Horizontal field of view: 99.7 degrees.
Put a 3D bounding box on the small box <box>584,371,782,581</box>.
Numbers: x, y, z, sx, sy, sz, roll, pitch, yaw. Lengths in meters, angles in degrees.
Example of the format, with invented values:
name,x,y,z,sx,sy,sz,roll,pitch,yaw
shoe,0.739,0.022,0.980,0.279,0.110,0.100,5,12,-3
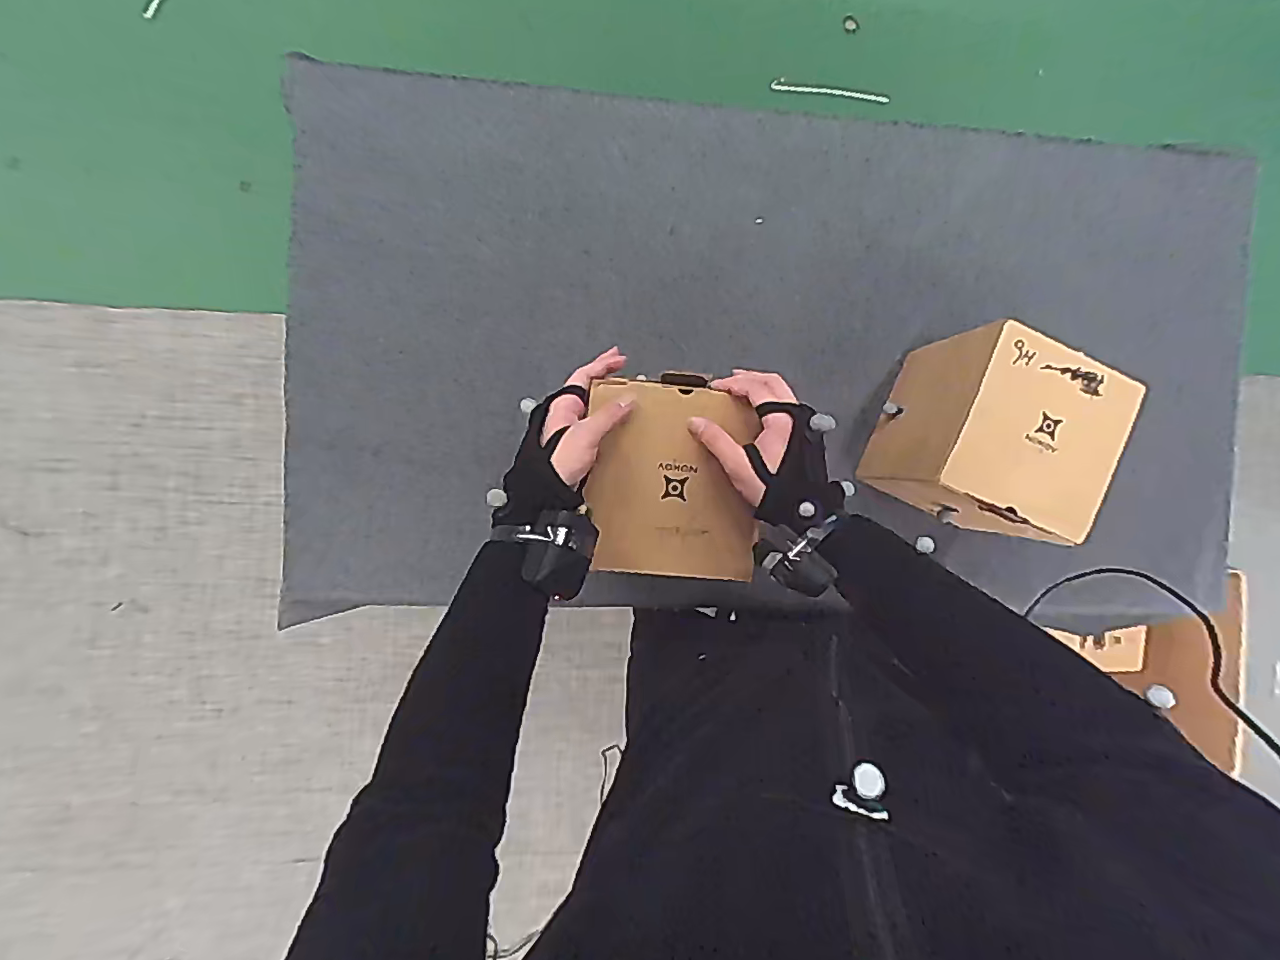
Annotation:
name,x,y,z,sx,sy,sz,roll,pitch,yaw
small box,0.033,-0.006,0.562,0.168,0.176,0.179,6,94,-4

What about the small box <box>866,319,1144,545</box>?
name,x,y,z,sx,sy,sz,roll,pitch,yaw
small box,0.387,-0.049,0.611,0.168,0.176,0.179,25,91,-5
